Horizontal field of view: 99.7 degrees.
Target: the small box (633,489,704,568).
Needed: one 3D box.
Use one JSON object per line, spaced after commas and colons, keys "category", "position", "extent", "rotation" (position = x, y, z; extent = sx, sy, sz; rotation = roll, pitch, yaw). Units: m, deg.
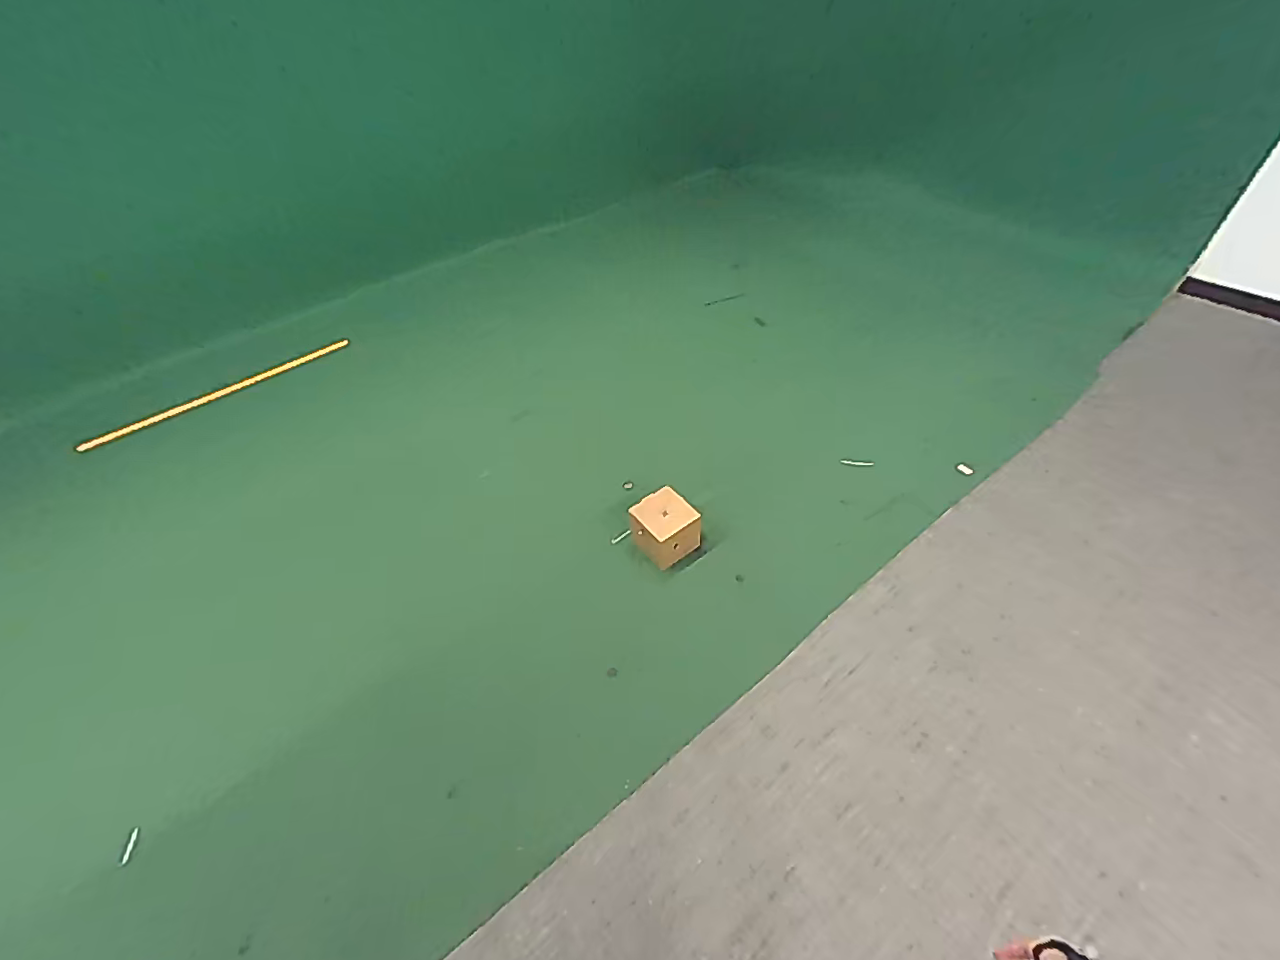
{"category": "small box", "position": [0.099, 0.169, 1.793], "extent": [0.168, 0.176, 0.179], "rotation": [-32, 50, -21]}
